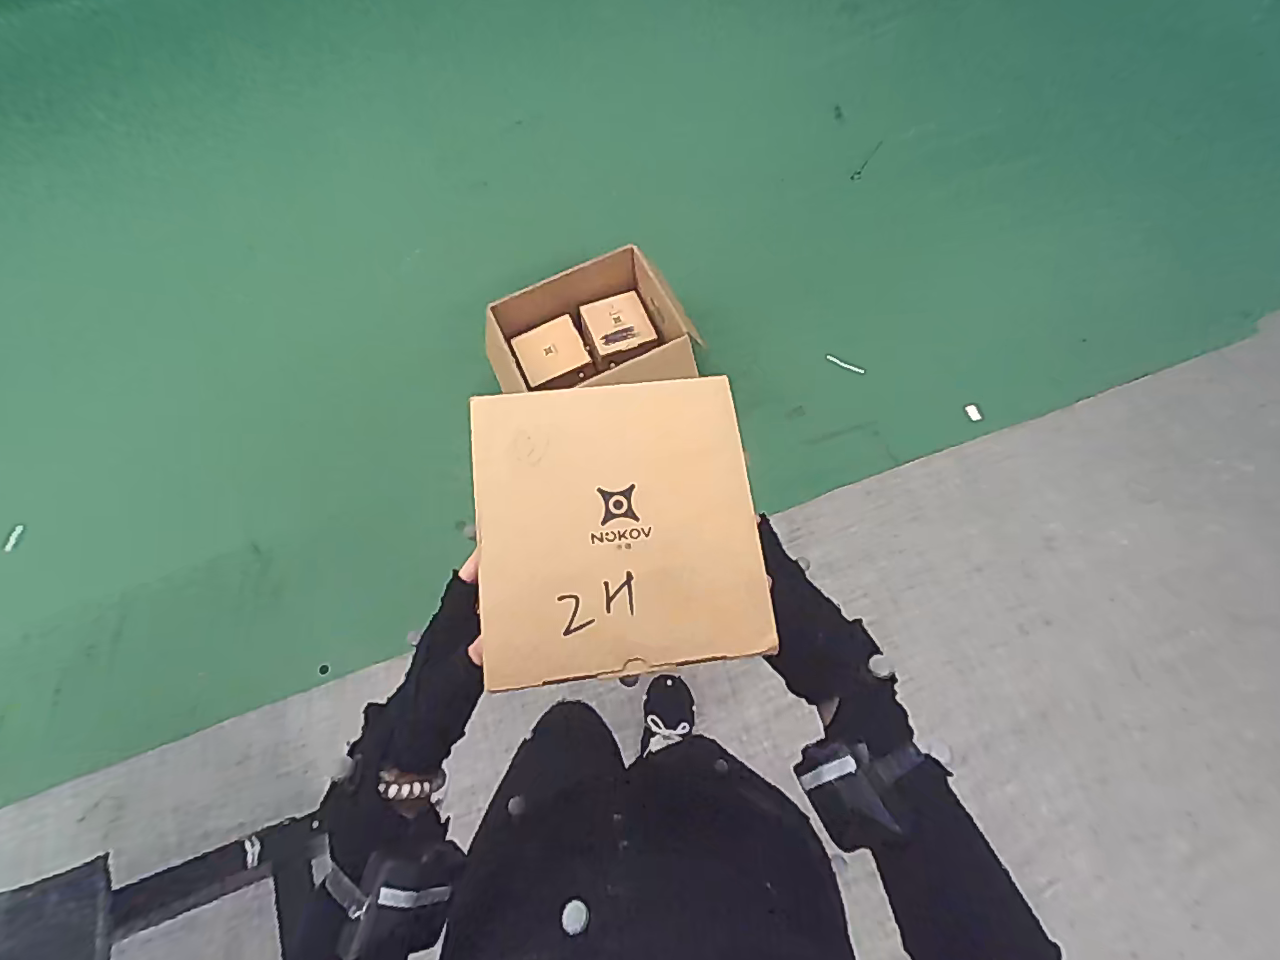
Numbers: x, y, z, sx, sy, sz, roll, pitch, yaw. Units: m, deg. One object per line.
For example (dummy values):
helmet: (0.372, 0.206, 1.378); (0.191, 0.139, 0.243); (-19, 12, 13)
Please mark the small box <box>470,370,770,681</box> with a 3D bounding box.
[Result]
small box: (-0.022, 0.040, 0.397); (0.168, 0.176, 0.179); (-6, 76, -6)
